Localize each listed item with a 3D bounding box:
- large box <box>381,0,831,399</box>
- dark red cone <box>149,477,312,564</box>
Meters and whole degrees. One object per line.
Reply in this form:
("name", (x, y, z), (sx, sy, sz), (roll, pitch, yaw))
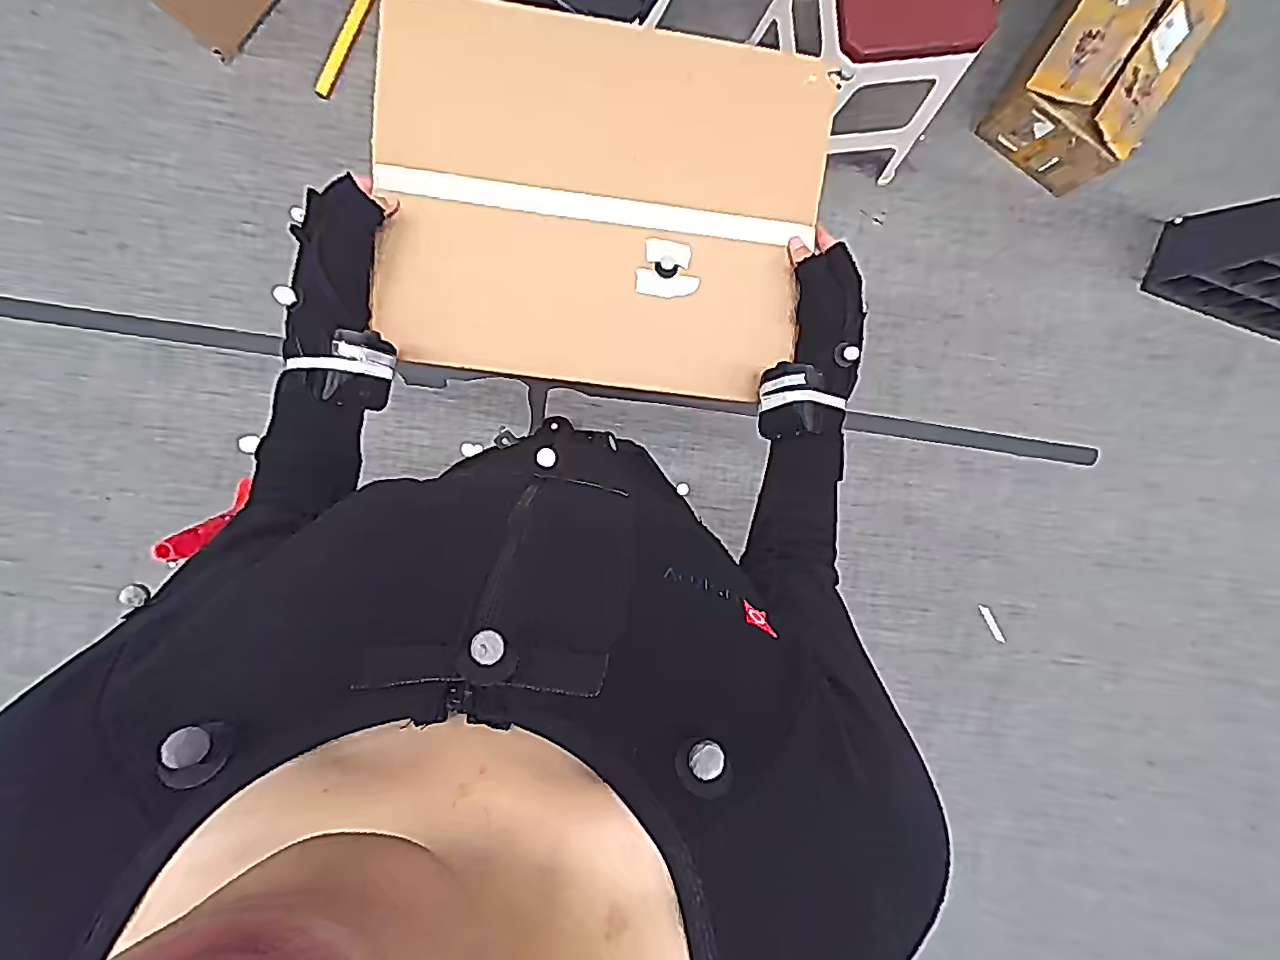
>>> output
("large box", (-0.045, -0.272, 0.650), (0.408, 0.320, 0.320), (6, 98, -5))
("dark red cone", (-0.952, 0.119, 1.239), (0.201, 0.394, 0.202), (14, 94, -6))
